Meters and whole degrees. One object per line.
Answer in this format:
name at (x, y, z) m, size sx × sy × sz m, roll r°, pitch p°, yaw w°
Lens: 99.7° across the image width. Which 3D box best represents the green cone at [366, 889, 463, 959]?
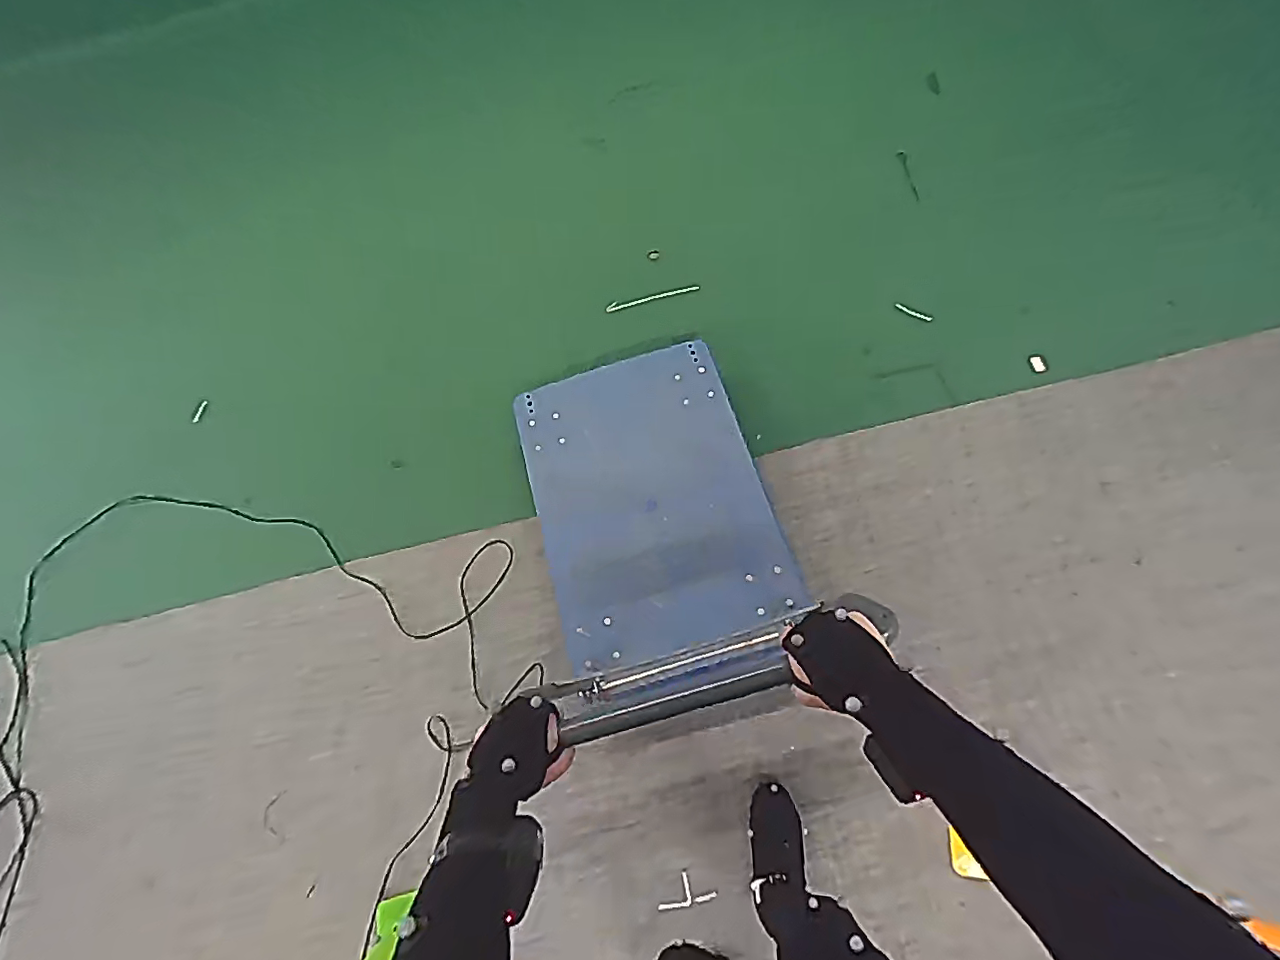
green cone at (-0.534, 1.014, 1.083) m, size 0.202 × 0.368 × 0.200 m, roll -19°, pitch 68°, yaw 2°
